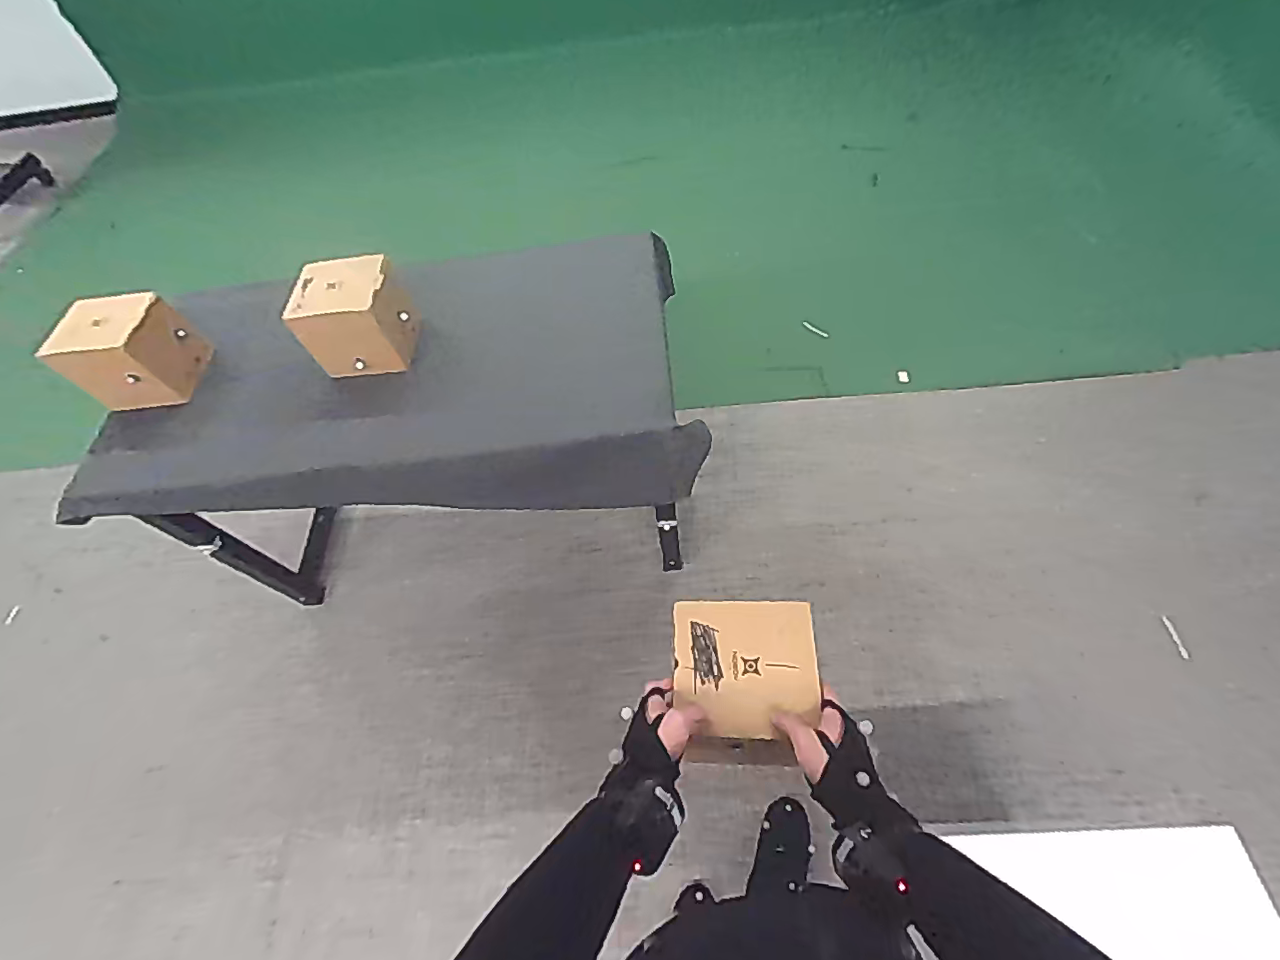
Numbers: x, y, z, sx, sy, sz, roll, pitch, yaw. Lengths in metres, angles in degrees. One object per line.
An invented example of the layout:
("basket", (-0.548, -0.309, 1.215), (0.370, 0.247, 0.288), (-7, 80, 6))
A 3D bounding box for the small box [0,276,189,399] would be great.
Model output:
("small box", (-1.070, -0.281, 1.083), (0.179, 0.176, 0.168), (-6, 55, 1))

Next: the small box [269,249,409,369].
("small box", (-0.592, -0.342, 1.095), (0.179, 0.176, 0.168), (-3, 57, 0))

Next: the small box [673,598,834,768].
("small box", (0.136, 0.264, 0.699), (0.179, 0.176, 0.168), (-1, 53, 6))
